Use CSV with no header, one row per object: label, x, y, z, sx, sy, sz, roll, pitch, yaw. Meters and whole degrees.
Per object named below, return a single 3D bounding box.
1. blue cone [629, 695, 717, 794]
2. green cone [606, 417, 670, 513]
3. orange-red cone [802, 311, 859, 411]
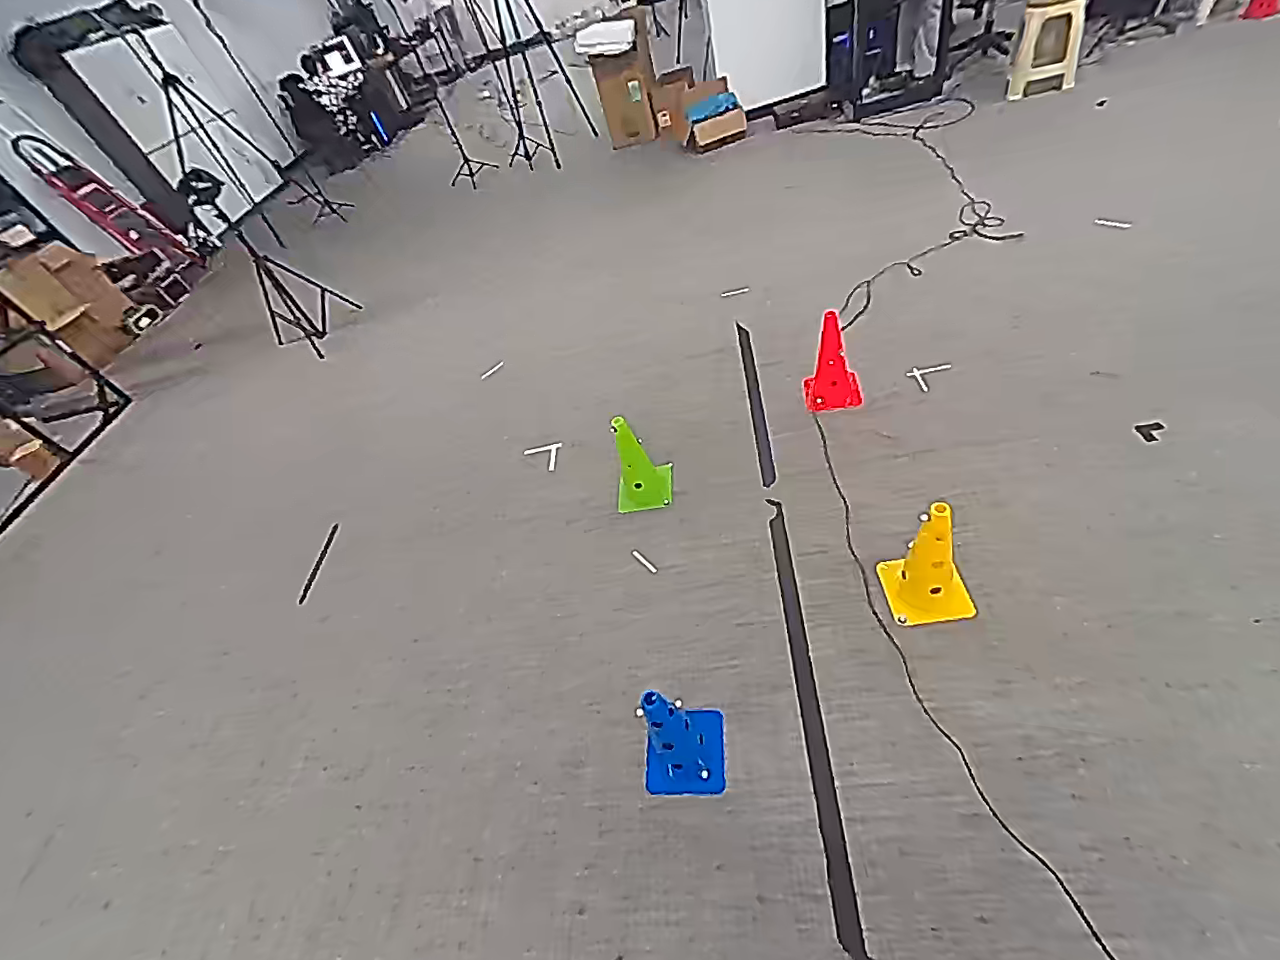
blue cone,0.056,0.585,1.258,0.192,0.380,0.193,-7,47,15
green cone,-0.036,-0.081,1.886,0.202,0.368,0.200,-10,46,13
orange-red cone,0.687,-0.449,1.959,0.199,0.360,0.198,-5,49,14
